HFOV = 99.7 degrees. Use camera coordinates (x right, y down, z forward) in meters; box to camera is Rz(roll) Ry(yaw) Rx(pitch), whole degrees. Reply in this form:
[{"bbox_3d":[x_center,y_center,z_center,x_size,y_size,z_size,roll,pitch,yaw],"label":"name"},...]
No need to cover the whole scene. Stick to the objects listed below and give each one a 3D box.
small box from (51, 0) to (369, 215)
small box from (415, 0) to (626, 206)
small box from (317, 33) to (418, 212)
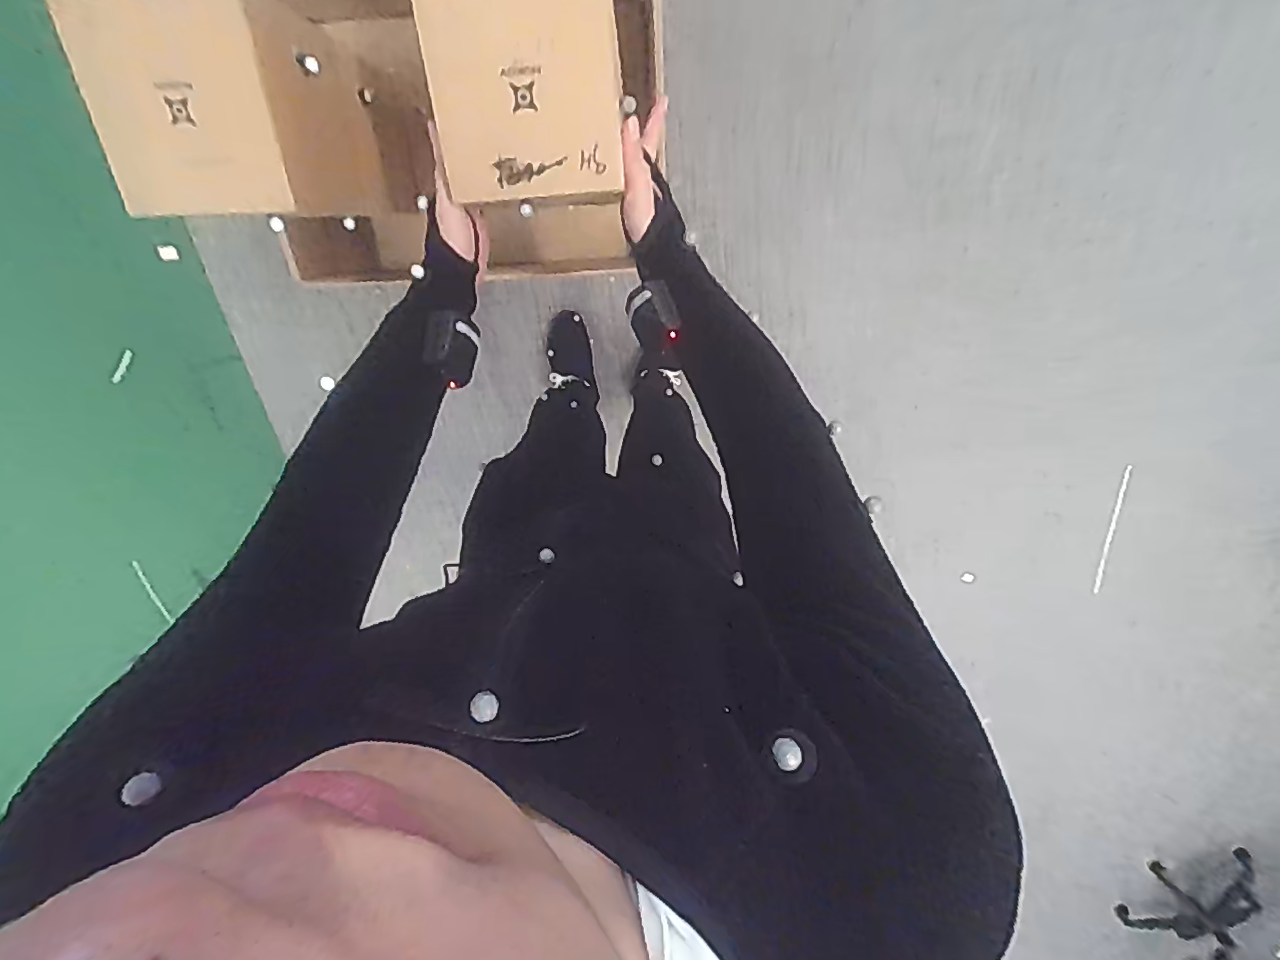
[{"bbox_3d":[-0.411,-0.373,0.555,0.168,0.176,0.179,-1,116,2],"label":"small box"},{"bbox_3d":[-0.102,-0.380,0.539,0.168,0.176,0.179,-4,115,2],"label":"small box"},{"bbox_3d":[-0.411,-0.447,0.702,0.168,0.176,0.179,0,117,1],"label":"small box"}]
